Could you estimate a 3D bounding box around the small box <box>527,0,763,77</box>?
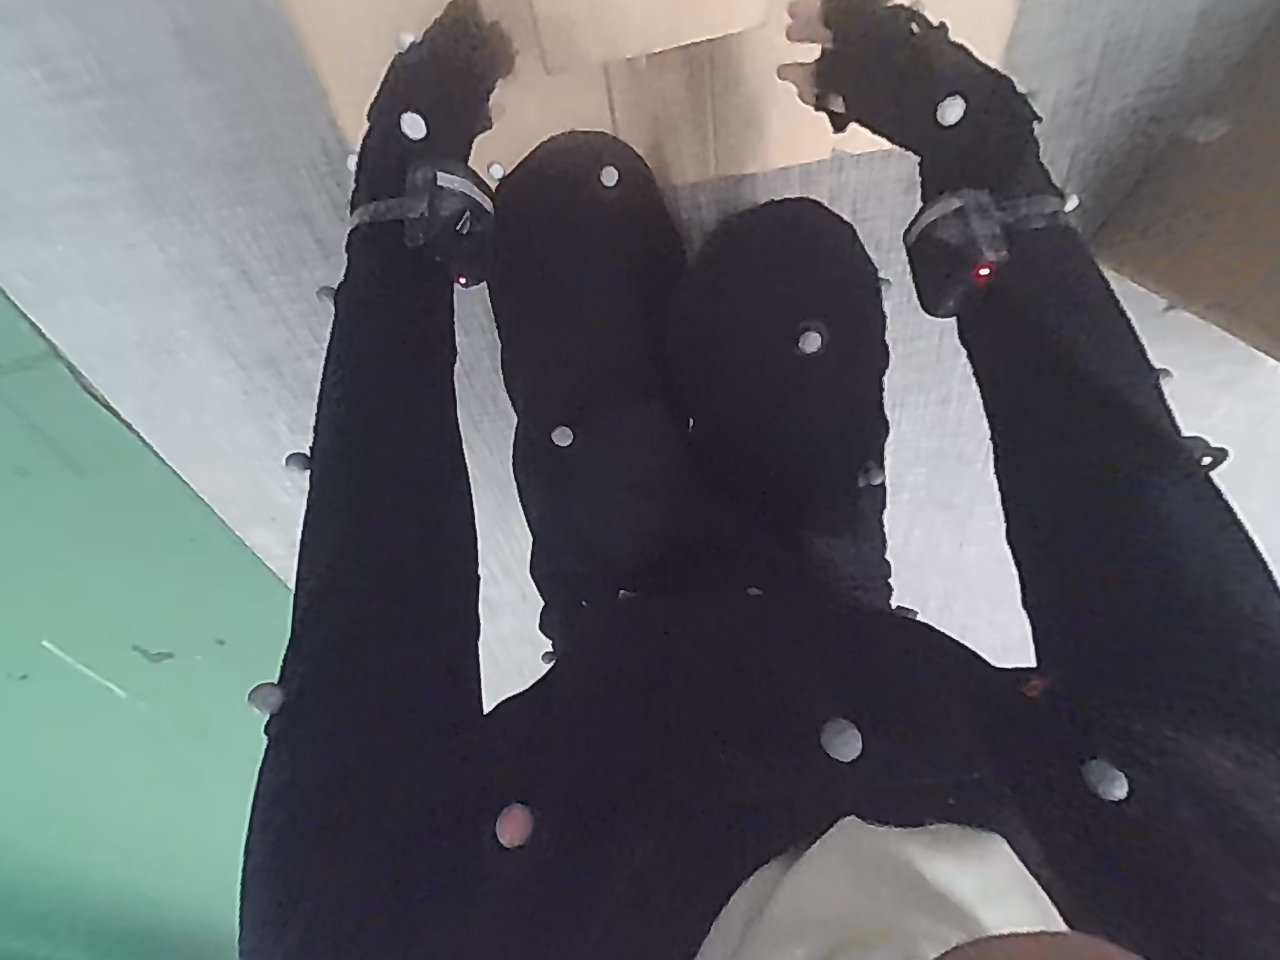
[{"bbox_3d":[-0.005,-0.449,0.439,0.179,0.176,0.168,-10,128,10],"label":"small box"}]
